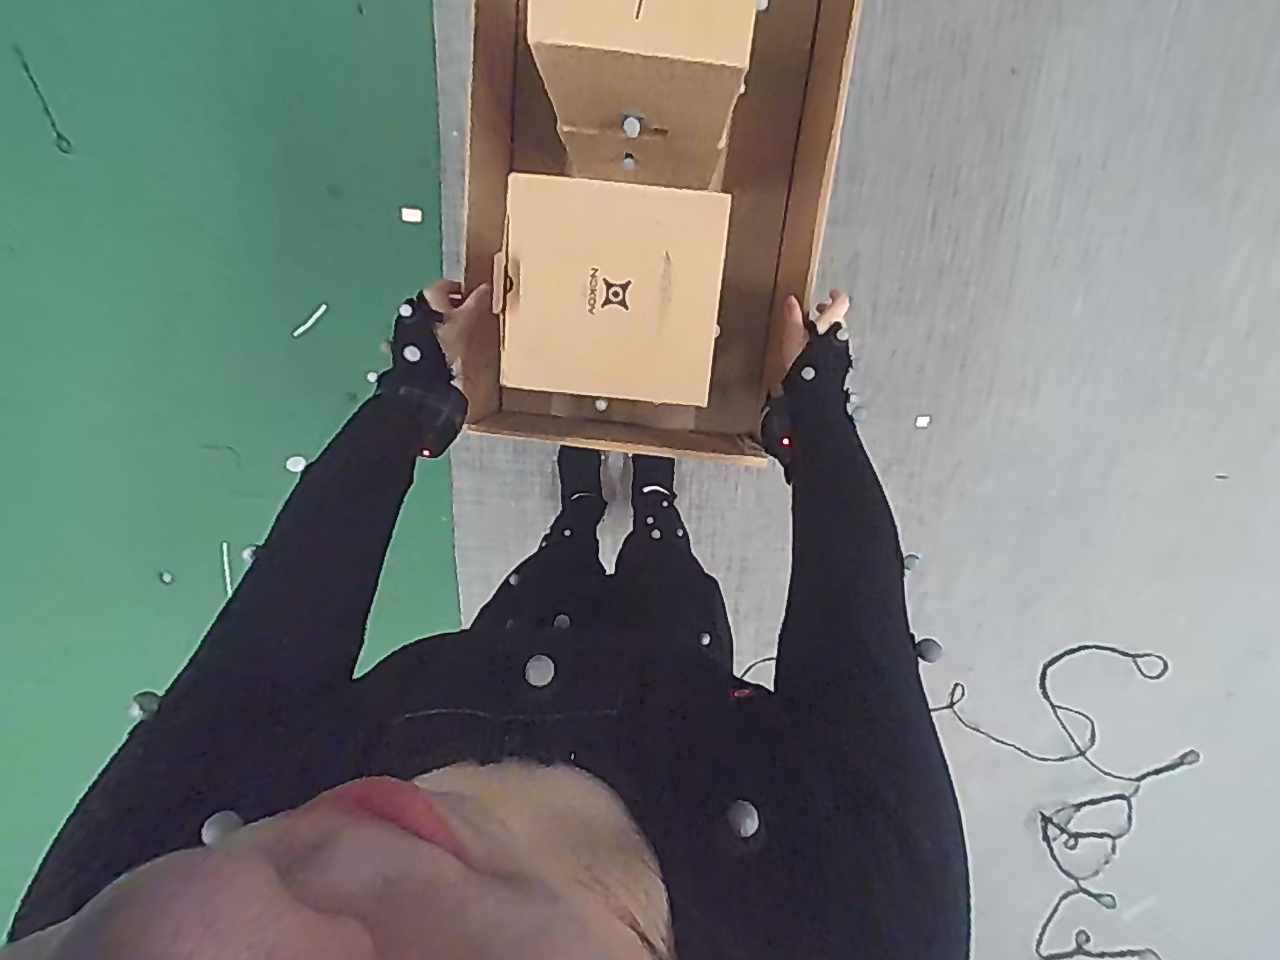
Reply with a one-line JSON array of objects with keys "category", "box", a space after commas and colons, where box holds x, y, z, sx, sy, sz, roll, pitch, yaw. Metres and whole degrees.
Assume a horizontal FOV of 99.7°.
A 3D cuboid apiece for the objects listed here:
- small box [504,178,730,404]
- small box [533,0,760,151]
[{"category": "small box", "box": [-0.022, -0.169, 0.522, 0.179, 0.176, 0.168, 5, 103, -2]}, {"category": "small box", "box": [0.011, -0.414, 0.461, 0.168, 0.176, 0.179, 8, 105, -2]}]
